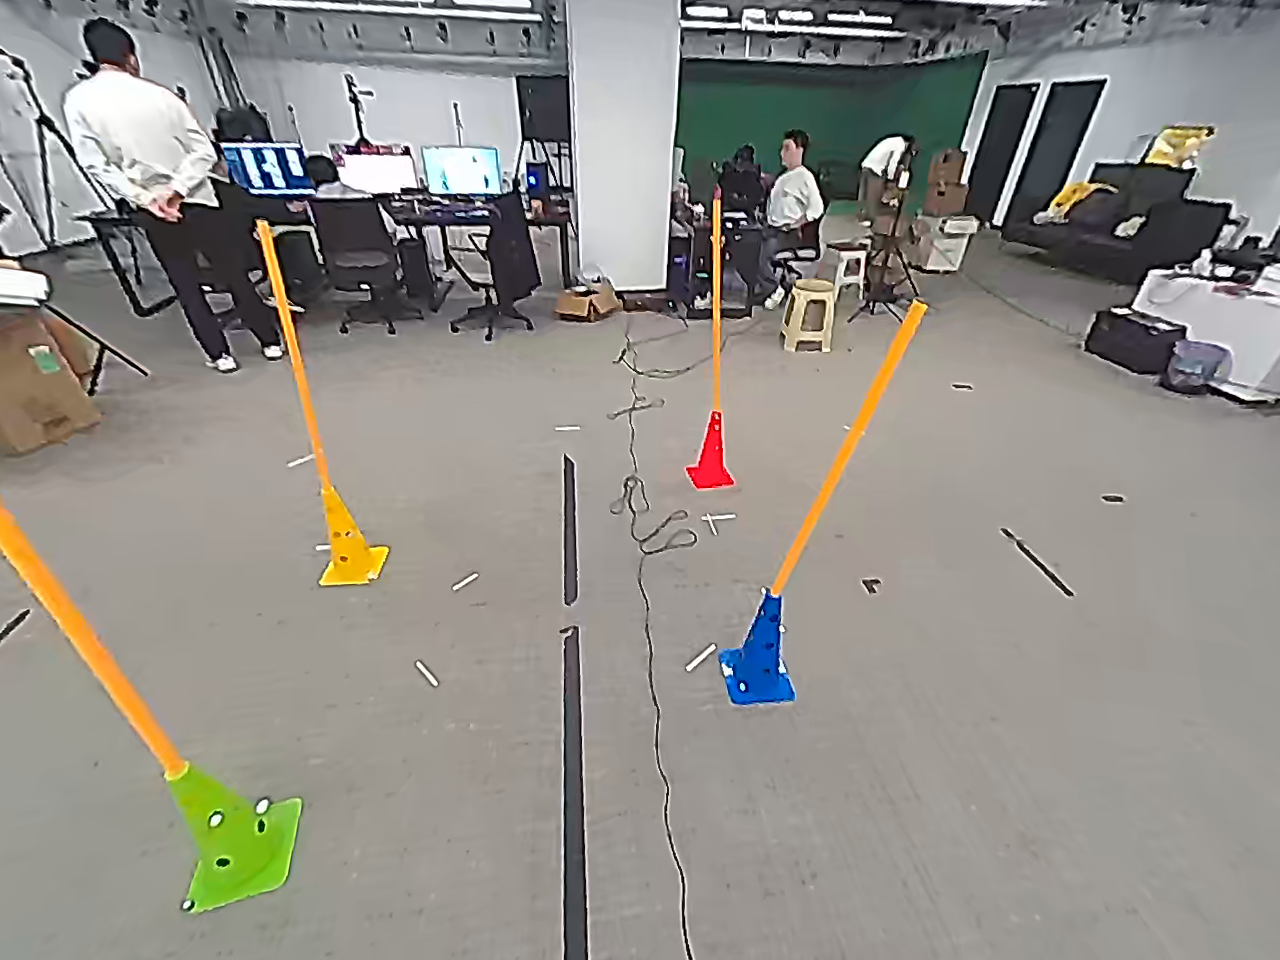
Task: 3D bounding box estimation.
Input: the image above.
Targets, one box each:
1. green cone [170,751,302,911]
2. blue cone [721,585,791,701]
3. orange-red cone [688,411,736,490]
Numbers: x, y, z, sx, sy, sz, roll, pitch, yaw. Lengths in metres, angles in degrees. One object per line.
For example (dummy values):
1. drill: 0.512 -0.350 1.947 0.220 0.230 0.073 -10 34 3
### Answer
1. green cone: -0.905 0.710 1.160 0.200 0.368 0.202 -9 33 -15
2. blue cone: 0.364 0.467 1.598 0.193 0.380 0.192 -1 33 -4
3. orange-red cone: 0.349 -0.153 2.520 0.199 0.360 0.198 -7 34 -10
